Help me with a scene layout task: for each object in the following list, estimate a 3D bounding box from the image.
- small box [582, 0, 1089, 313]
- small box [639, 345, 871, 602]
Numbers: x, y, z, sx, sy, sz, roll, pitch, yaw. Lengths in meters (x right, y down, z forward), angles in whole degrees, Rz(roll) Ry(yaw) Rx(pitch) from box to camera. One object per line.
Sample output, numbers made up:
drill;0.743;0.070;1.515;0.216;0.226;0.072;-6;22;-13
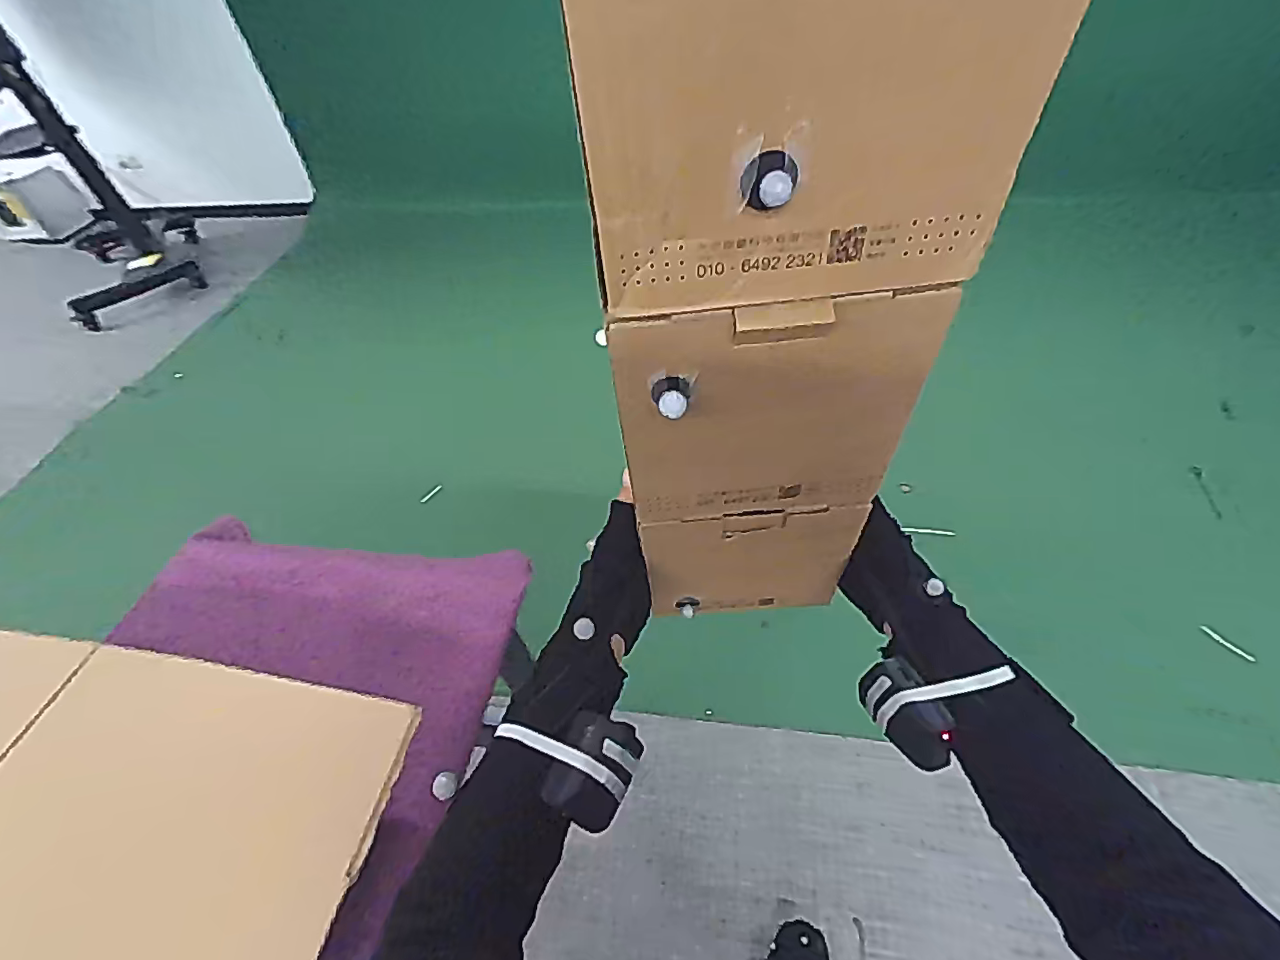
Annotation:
small box;0.060;-0.200;0.243;0.168;0.176;0.179;-6;52;1
small box;0.090;0.003;0.498;0.168;0.176;0.179;-4;52;3
